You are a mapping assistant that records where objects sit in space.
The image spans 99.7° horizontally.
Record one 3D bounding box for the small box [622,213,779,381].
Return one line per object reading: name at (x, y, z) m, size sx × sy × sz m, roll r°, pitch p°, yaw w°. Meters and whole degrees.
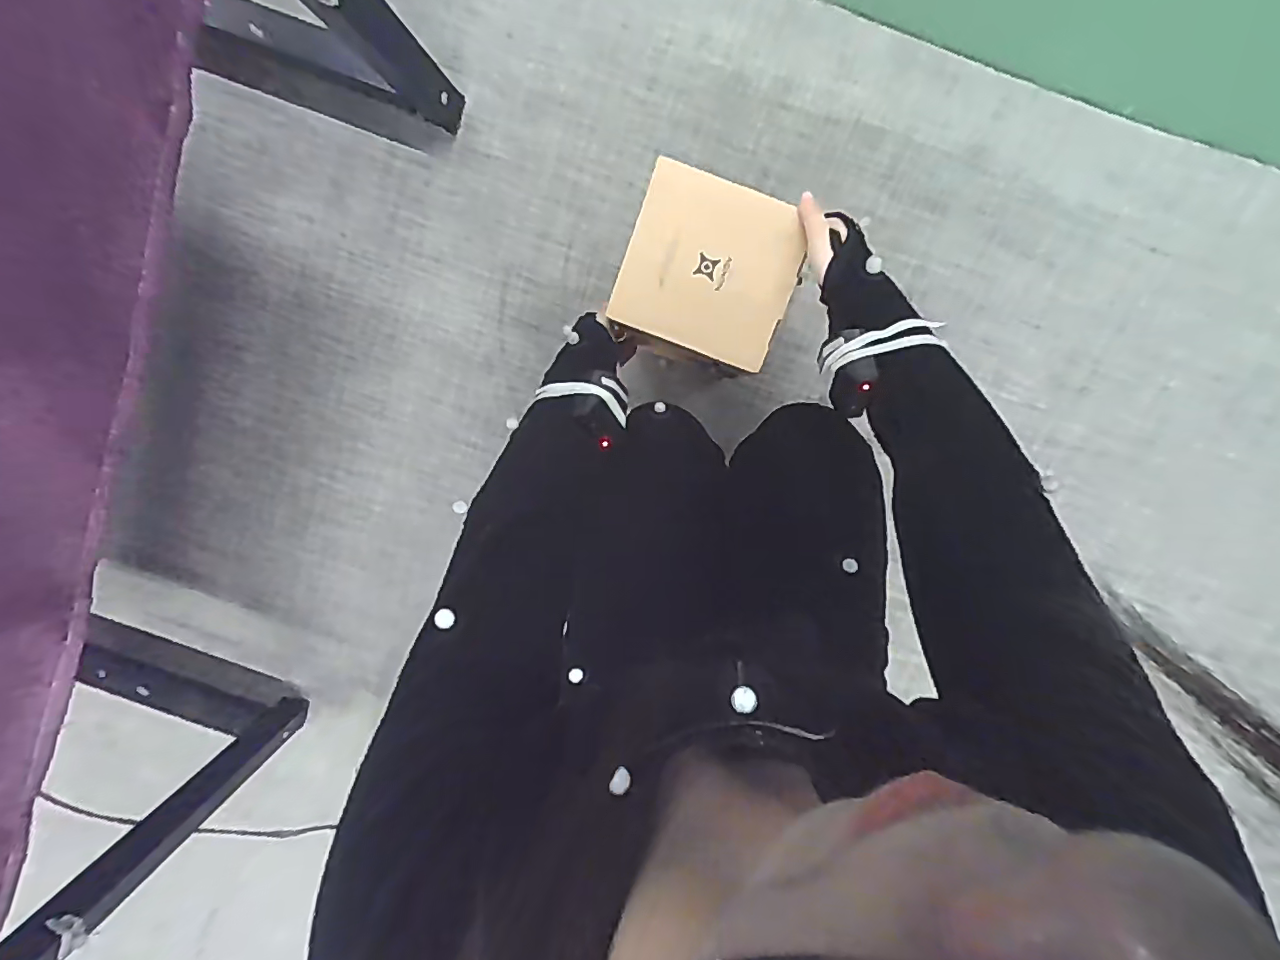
small box at (0.084, -0.257, 0.793) m, size 0.168 × 0.176 × 0.179 m, roll 18°, pitch 103°, yaw -1°
